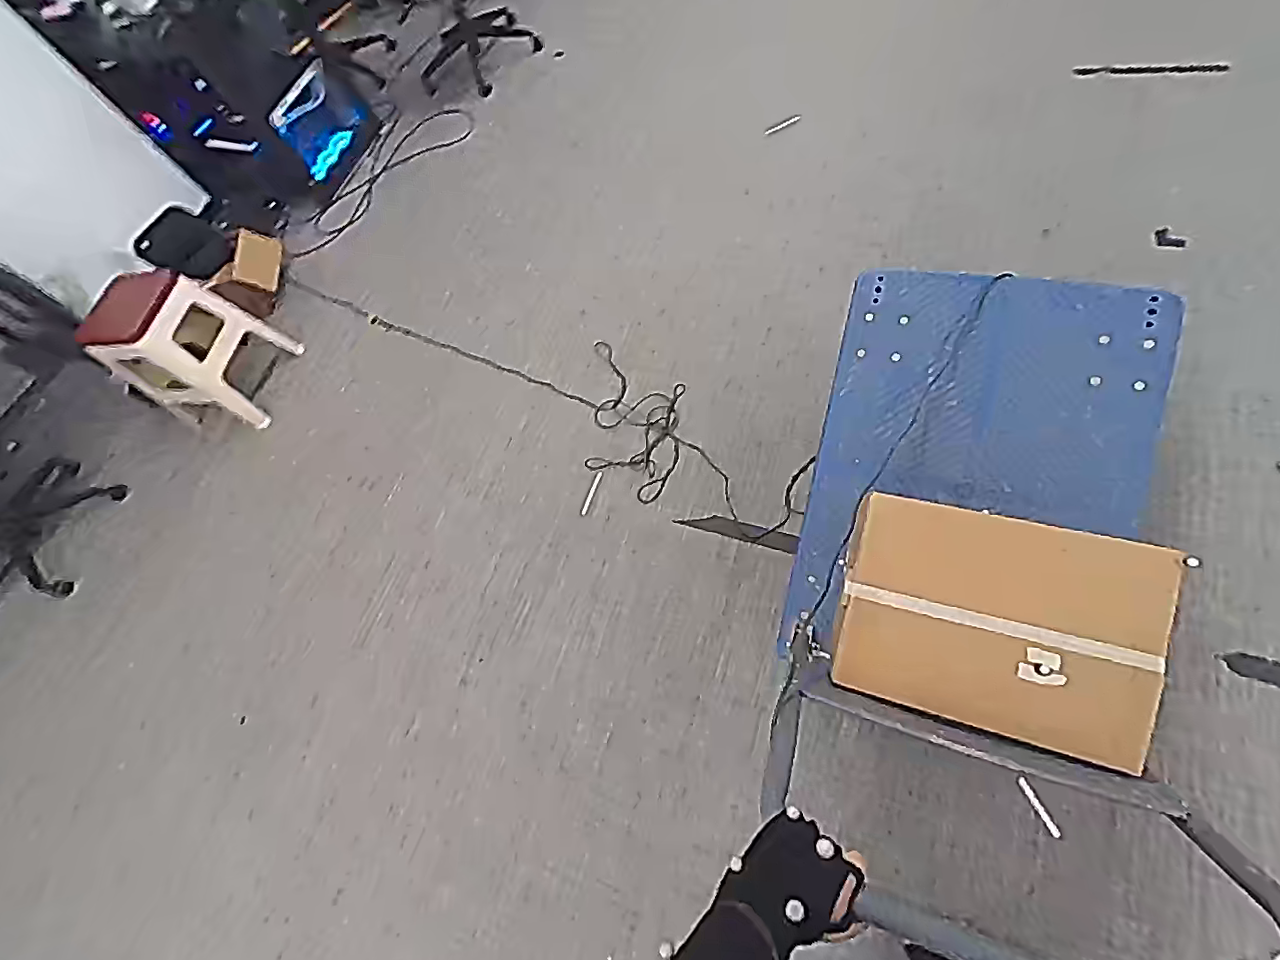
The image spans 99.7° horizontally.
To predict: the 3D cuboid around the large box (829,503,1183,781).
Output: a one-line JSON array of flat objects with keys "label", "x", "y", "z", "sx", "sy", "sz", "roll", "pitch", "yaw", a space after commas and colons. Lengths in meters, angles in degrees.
[{"label": "large box", "x": 0.563, "y": 0.232, "z": 0.929, "sx": 0.408, "sy": 0.320, "sz": 0.320, "roll": 13, "pitch": 90, "yaw": 19}]
